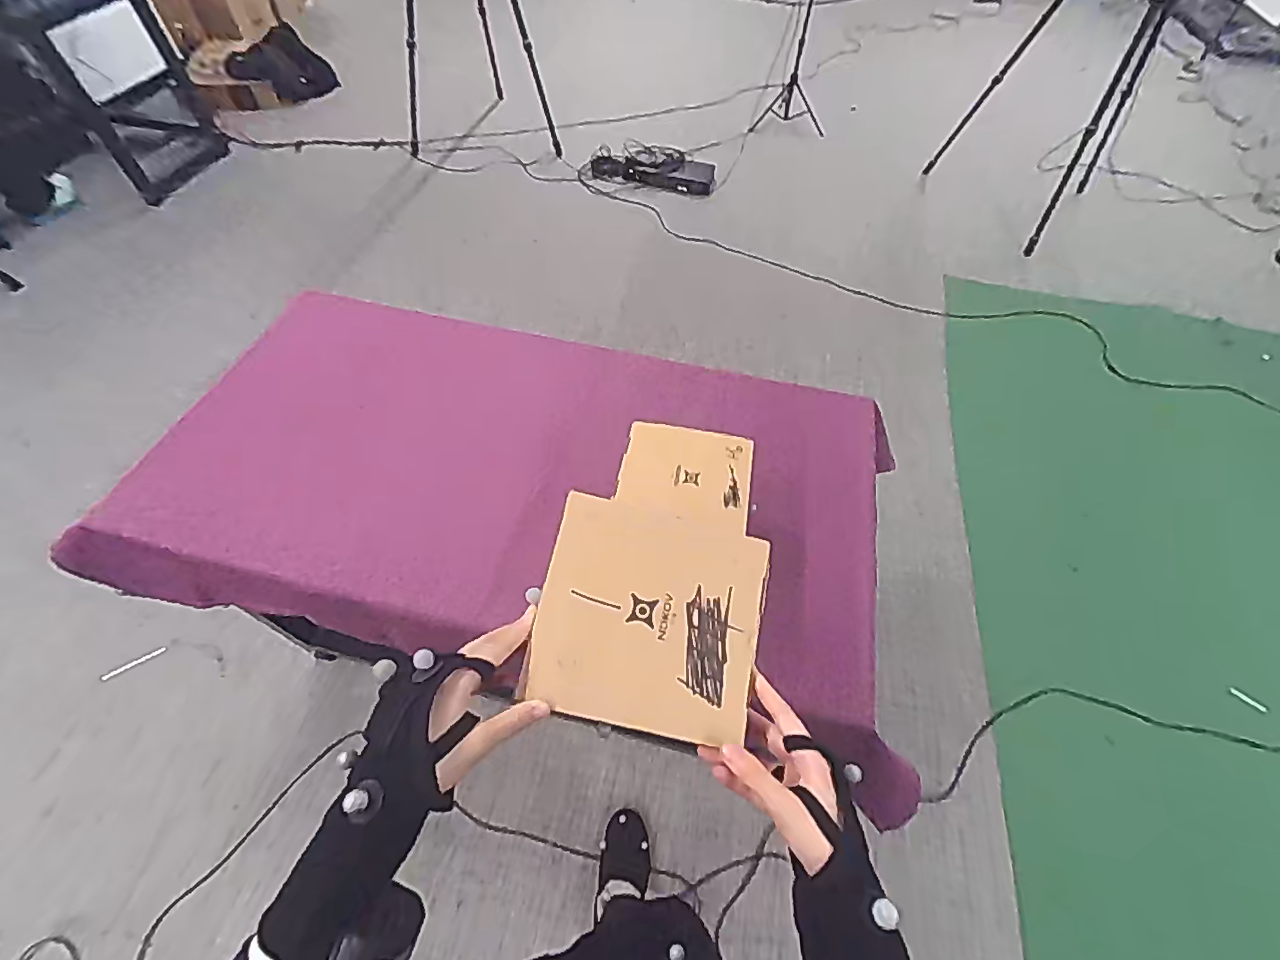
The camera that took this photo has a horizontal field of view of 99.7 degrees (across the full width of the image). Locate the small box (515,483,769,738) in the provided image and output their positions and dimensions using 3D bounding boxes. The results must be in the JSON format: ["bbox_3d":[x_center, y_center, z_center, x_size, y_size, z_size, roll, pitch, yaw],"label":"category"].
[{"bbox_3d":[-0.003,0.124,0.500,0.179,0.176,0.168,15,68,-4],"label":"small box"}]

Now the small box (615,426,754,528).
[{"bbox_3d":[0.059,0.047,0.789,0.179,0.176,0.168,10,55,6],"label":"small box"}]
